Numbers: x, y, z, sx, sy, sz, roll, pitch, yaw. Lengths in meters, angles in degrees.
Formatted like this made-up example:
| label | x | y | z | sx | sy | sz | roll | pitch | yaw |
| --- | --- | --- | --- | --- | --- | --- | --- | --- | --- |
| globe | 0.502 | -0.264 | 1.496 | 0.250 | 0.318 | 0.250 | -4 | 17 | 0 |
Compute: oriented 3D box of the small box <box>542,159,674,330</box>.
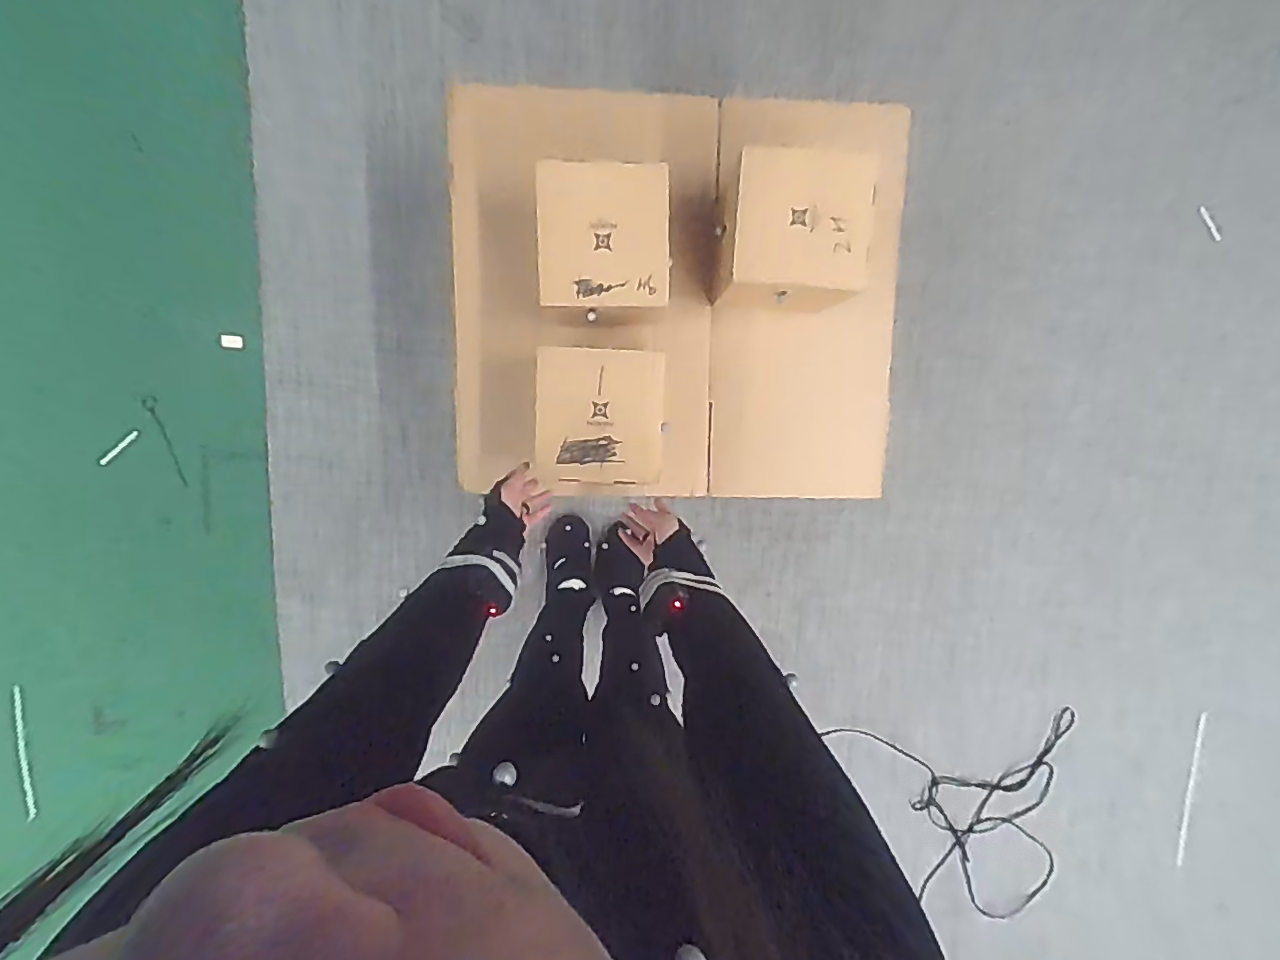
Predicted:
| label | x | y | z | sx | sy | sz | roll | pitch | yaw |
| --- | --- | --- | --- | --- | --- | --- | --- | --- | --- |
| small box | -0.044 | -0.314 | 0.752 | 0.168 | 0.176 | 0.179 | 0 | 97 | -2 |

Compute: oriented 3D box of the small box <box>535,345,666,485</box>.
| label | x | y | z | sx | sy | sz | roll | pitch | yaw |
| --- | --- | --- | --- | --- | --- | --- | --- | --- | --- |
| small box | -0.054 | -0.093 | 0.780 | 0.168 | 0.176 | 0.179 | 2 | 97 | -2 |

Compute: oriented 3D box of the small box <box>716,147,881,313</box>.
| label | x | y | z | sx | sy | sz | roll | pitch | yaw |
| --- | --- | --- | --- | --- | --- | --- | --- | --- | --- |
| small box | 0.207 | -0.336 | 0.760 | 0.179 | 0.176 | 0.168 | 4 | 97 | -1 |
